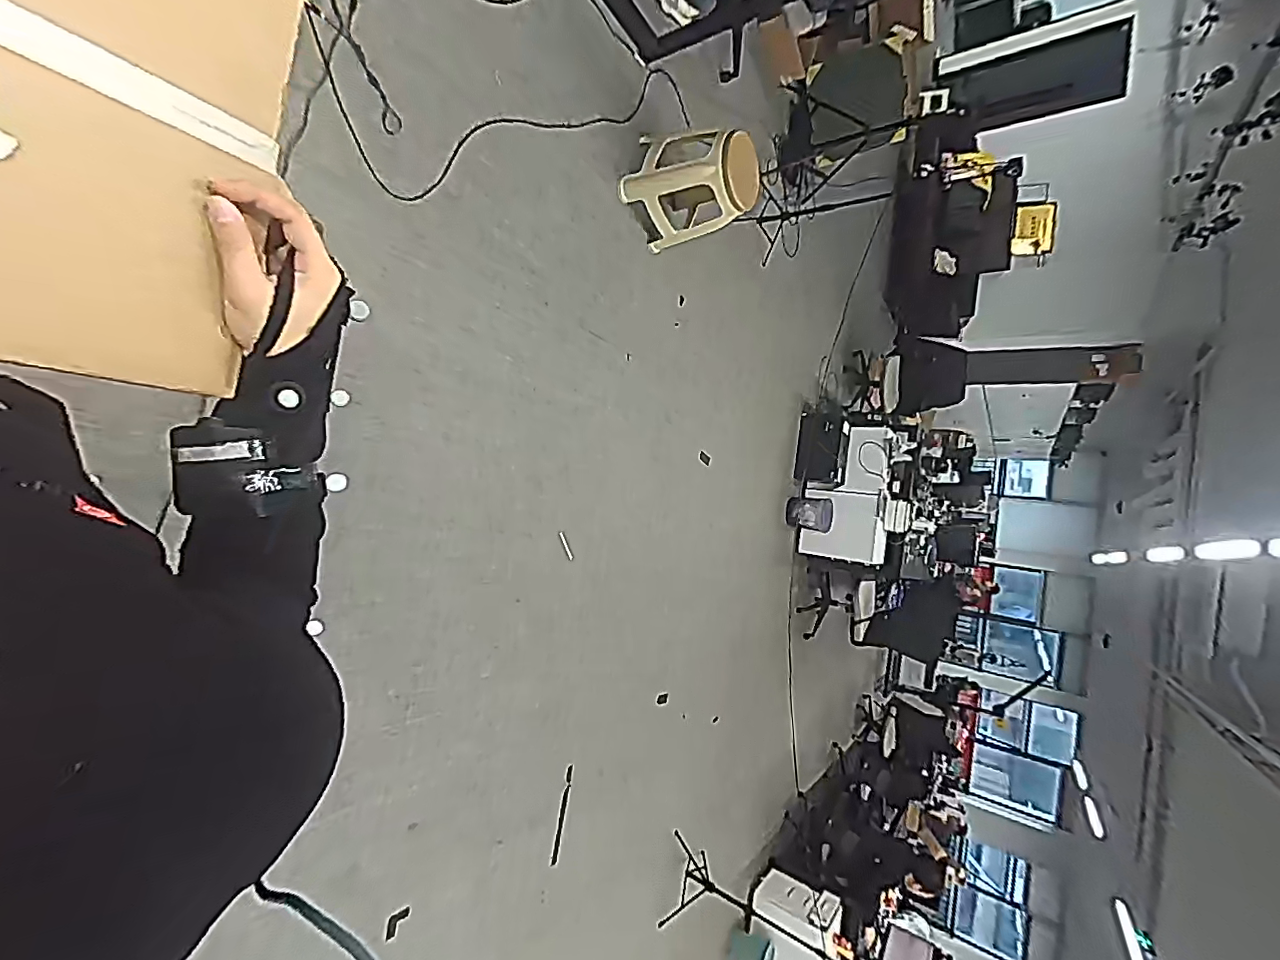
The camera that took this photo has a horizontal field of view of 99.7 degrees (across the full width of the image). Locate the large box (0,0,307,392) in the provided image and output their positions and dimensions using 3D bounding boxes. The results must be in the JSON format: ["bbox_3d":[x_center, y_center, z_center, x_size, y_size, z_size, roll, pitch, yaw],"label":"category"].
[{"bbox_3d":[-0.474,-0.248,0.285,0.408,0.320,0.320,7,97,-55],"label":"large box"}]
